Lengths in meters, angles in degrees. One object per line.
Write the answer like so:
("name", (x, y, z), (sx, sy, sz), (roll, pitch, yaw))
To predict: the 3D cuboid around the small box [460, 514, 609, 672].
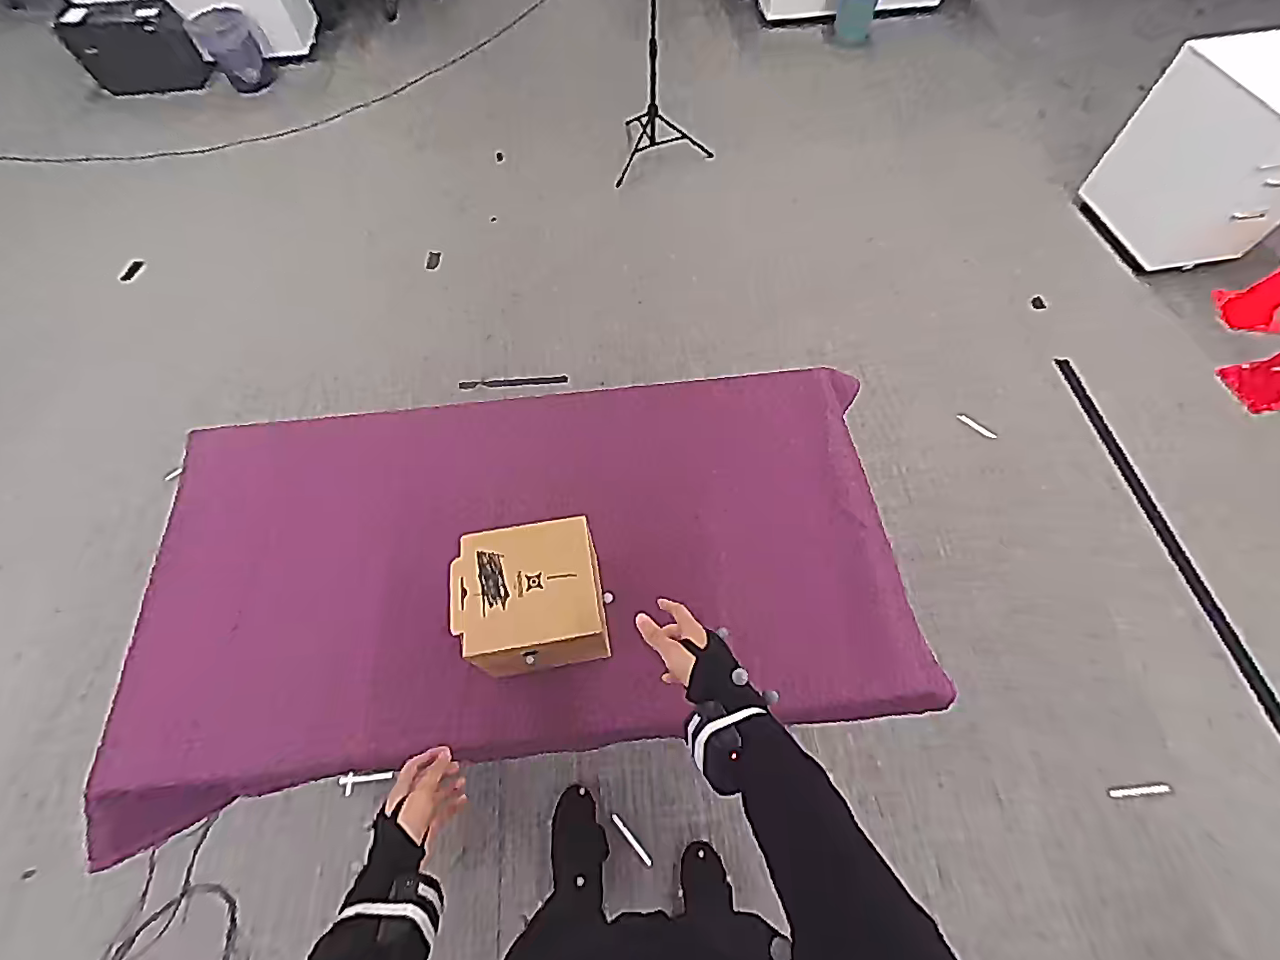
("small box", (-0.145, 0.168, 0.775), (0.179, 0.176, 0.168), (-9, 62, -4))
